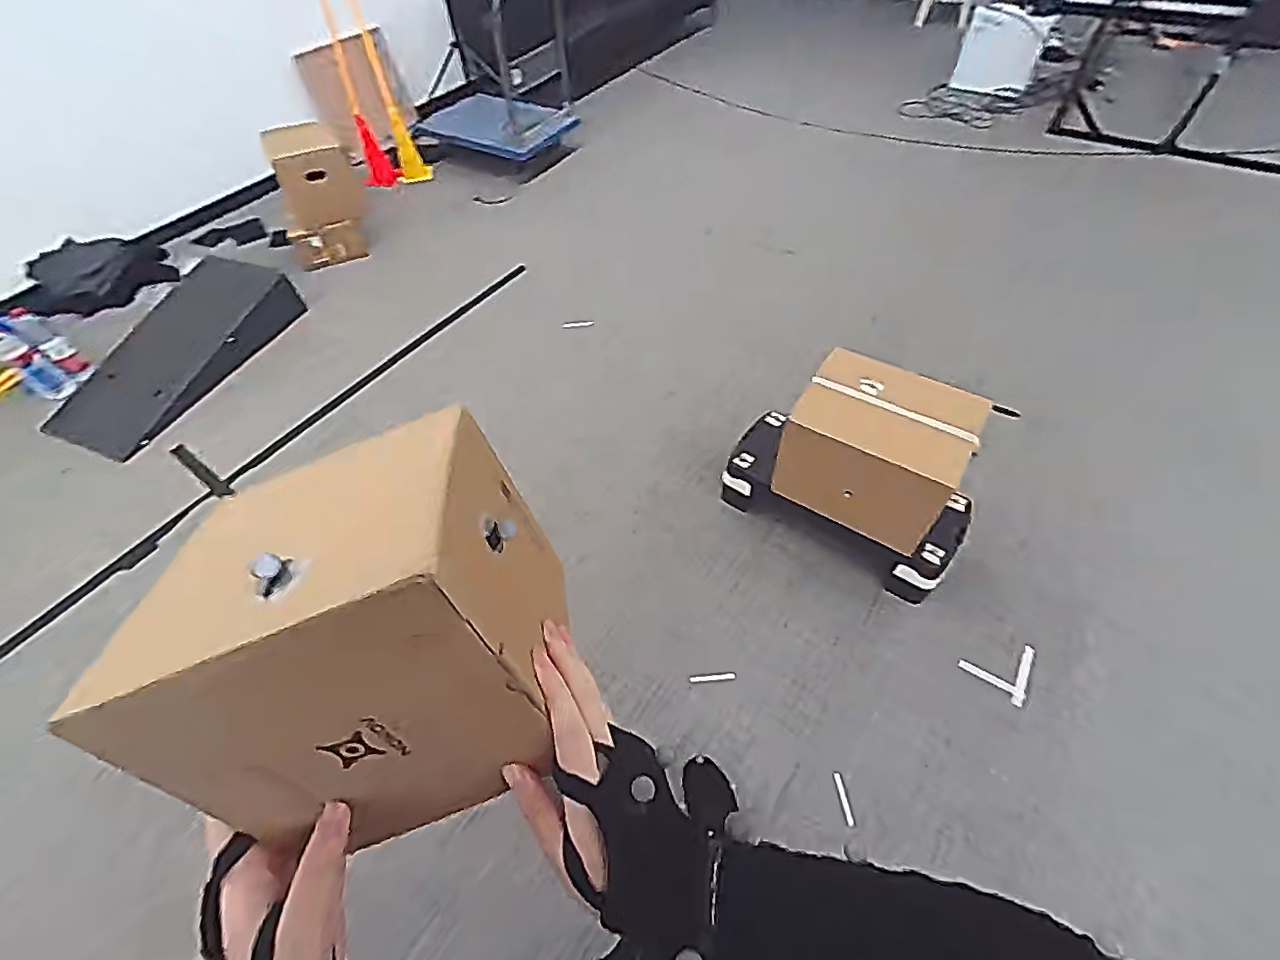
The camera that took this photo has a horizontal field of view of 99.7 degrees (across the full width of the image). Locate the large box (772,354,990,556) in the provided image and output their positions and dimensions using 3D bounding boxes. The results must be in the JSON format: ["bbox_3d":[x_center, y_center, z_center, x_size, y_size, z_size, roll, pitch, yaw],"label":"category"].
[{"bbox_3d":[0.611,-0.068,1.424,0.408,0.320,0.320,27,59,23],"label":"large box"}]

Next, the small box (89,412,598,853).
[{"bbox_3d":[-0.143,0.081,0.334,0.179,0.168,0.176,-21,33,2],"label":"small box"}]
